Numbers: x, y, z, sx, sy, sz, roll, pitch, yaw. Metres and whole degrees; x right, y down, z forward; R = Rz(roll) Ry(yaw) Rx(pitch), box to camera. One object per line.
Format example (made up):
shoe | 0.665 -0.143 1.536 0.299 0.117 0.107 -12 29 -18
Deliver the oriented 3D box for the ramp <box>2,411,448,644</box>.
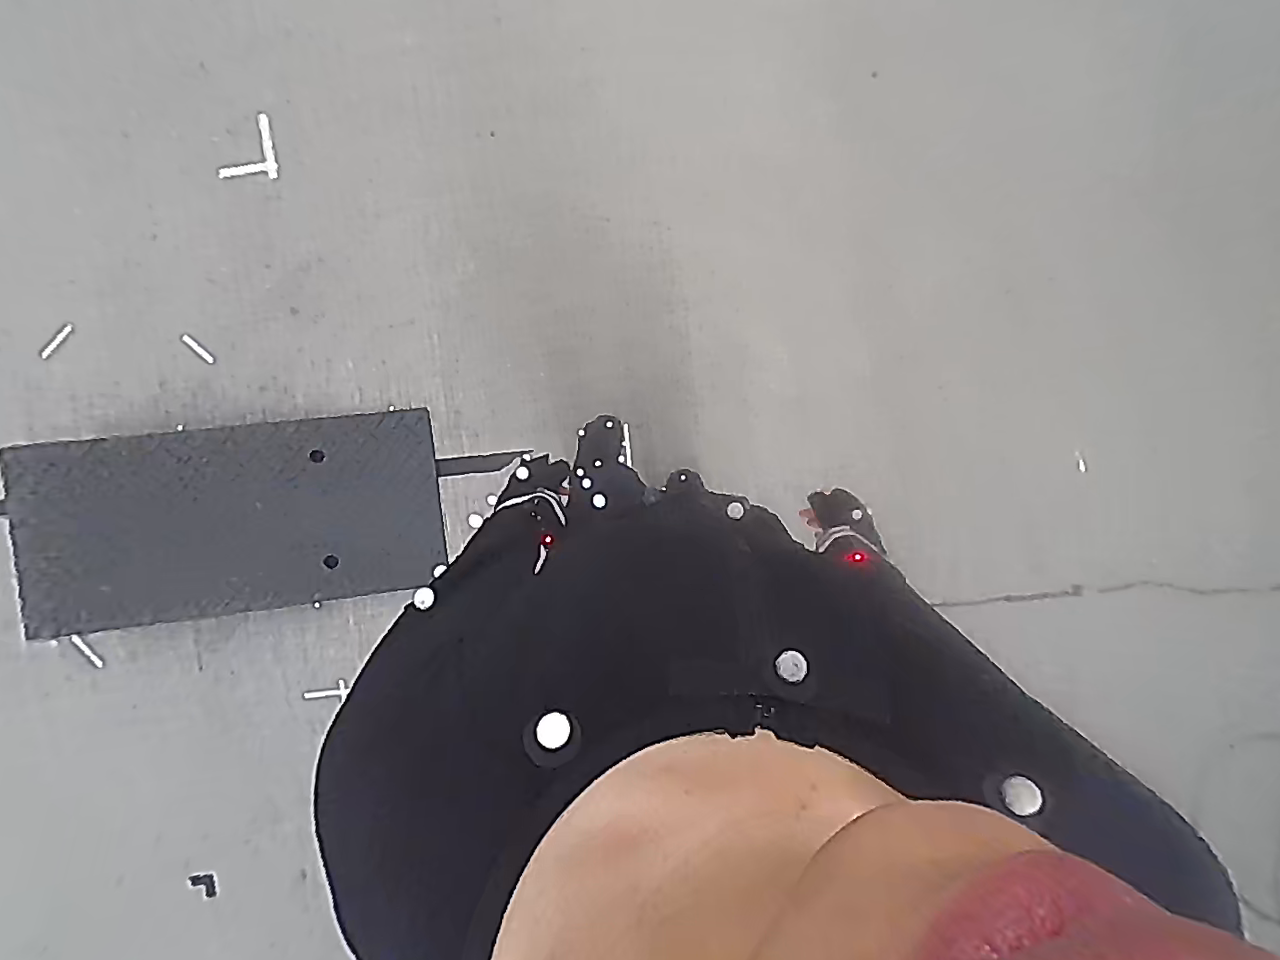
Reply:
ramp | -1.048 0.106 1.415 0.991 0.206 0.509 -8 90 1
